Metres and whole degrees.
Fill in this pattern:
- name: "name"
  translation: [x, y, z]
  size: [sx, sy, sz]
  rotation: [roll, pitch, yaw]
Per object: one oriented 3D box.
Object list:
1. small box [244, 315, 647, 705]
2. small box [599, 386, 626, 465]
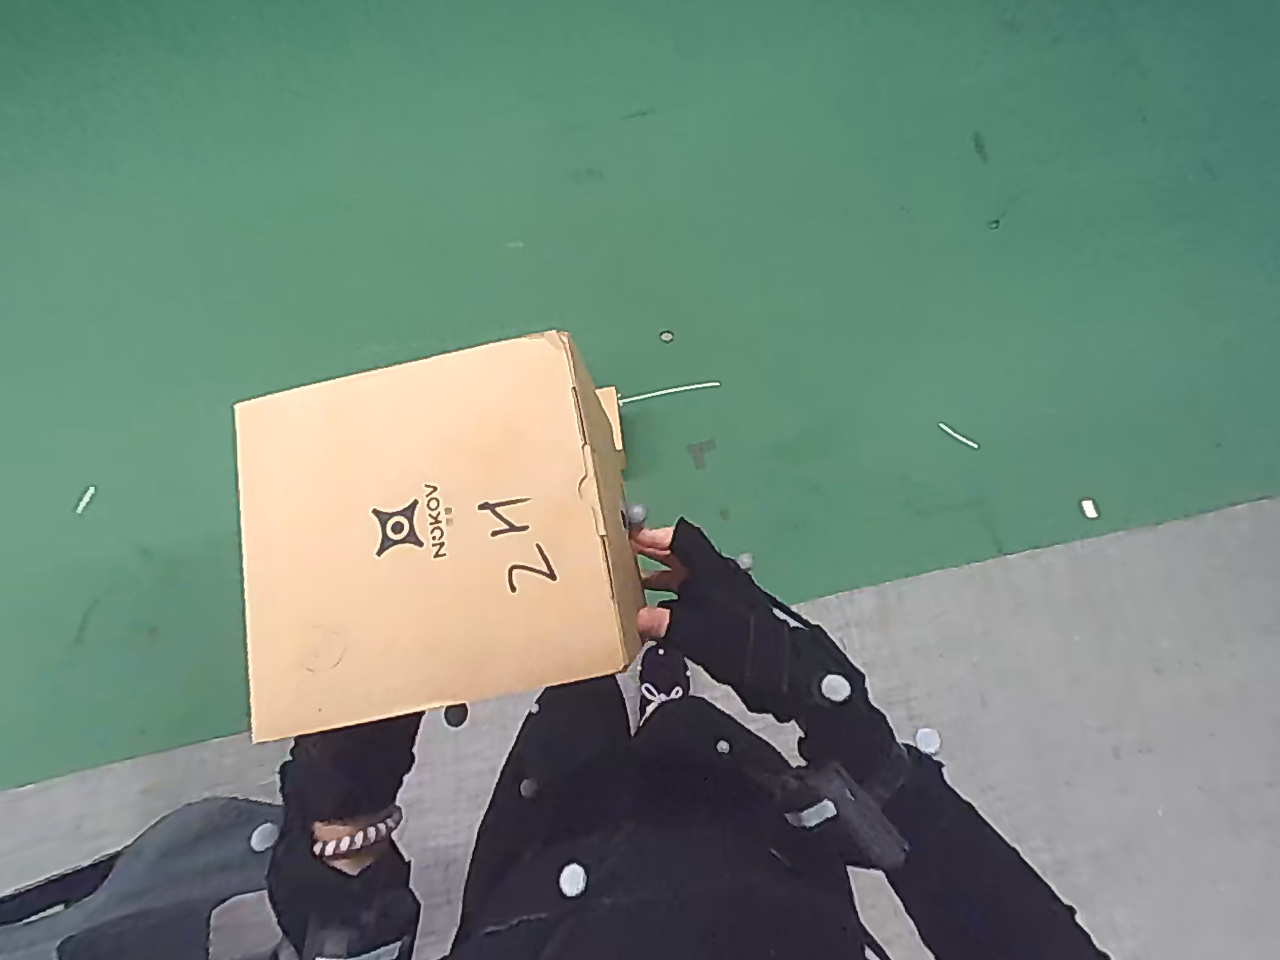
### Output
- name: "small box"
  translation: [-0.099, 0.026, 0.339]
  size: [0.179, 0.176, 0.168]
  rotation: [-12, 79, 2]
- name: "small box"
  translation: [-0.130, -0.126, 1.430]
  size: [0.168, 0.176, 0.179]
  rotation: [-7, 72, -1]
